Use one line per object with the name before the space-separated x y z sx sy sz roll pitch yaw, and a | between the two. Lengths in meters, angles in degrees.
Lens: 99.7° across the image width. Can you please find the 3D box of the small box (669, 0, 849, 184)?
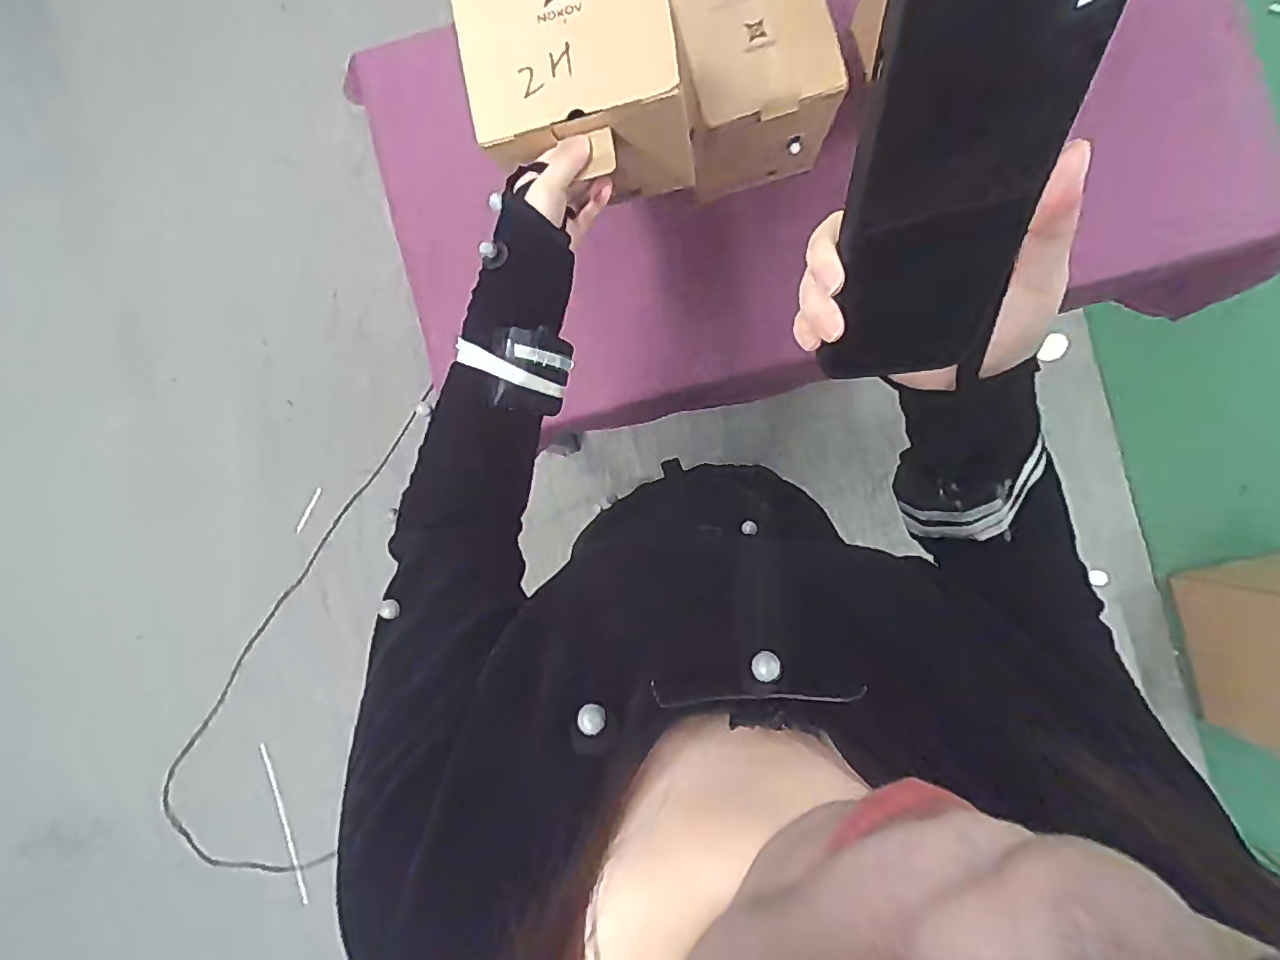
small box | 0.138 -0.506 0.679 0.168 0.176 0.179 -15 90 3

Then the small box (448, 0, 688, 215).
small box | -0.054 -0.371 0.485 0.168 0.176 0.179 -9 96 11
